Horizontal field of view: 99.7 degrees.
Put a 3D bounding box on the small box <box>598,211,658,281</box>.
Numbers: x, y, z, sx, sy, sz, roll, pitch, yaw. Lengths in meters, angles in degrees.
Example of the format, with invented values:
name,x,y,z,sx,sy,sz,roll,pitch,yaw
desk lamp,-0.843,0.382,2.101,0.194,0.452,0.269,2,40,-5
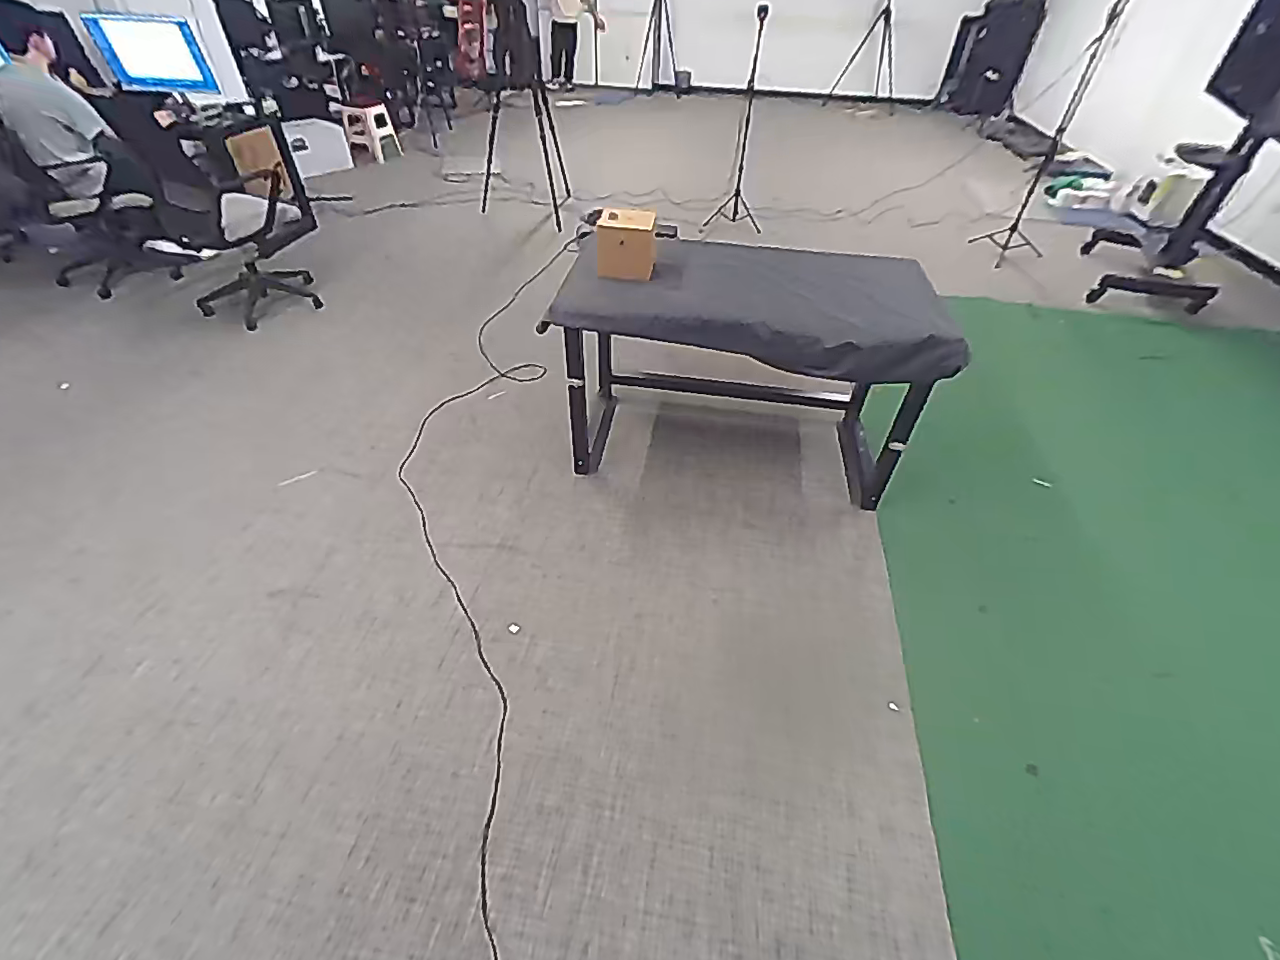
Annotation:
name,x,y,z,sx,sy,sz,roll,pitch,yaw
small box,-0.039,-0.772,1.787,0.179,0.176,0.168,7,44,3
